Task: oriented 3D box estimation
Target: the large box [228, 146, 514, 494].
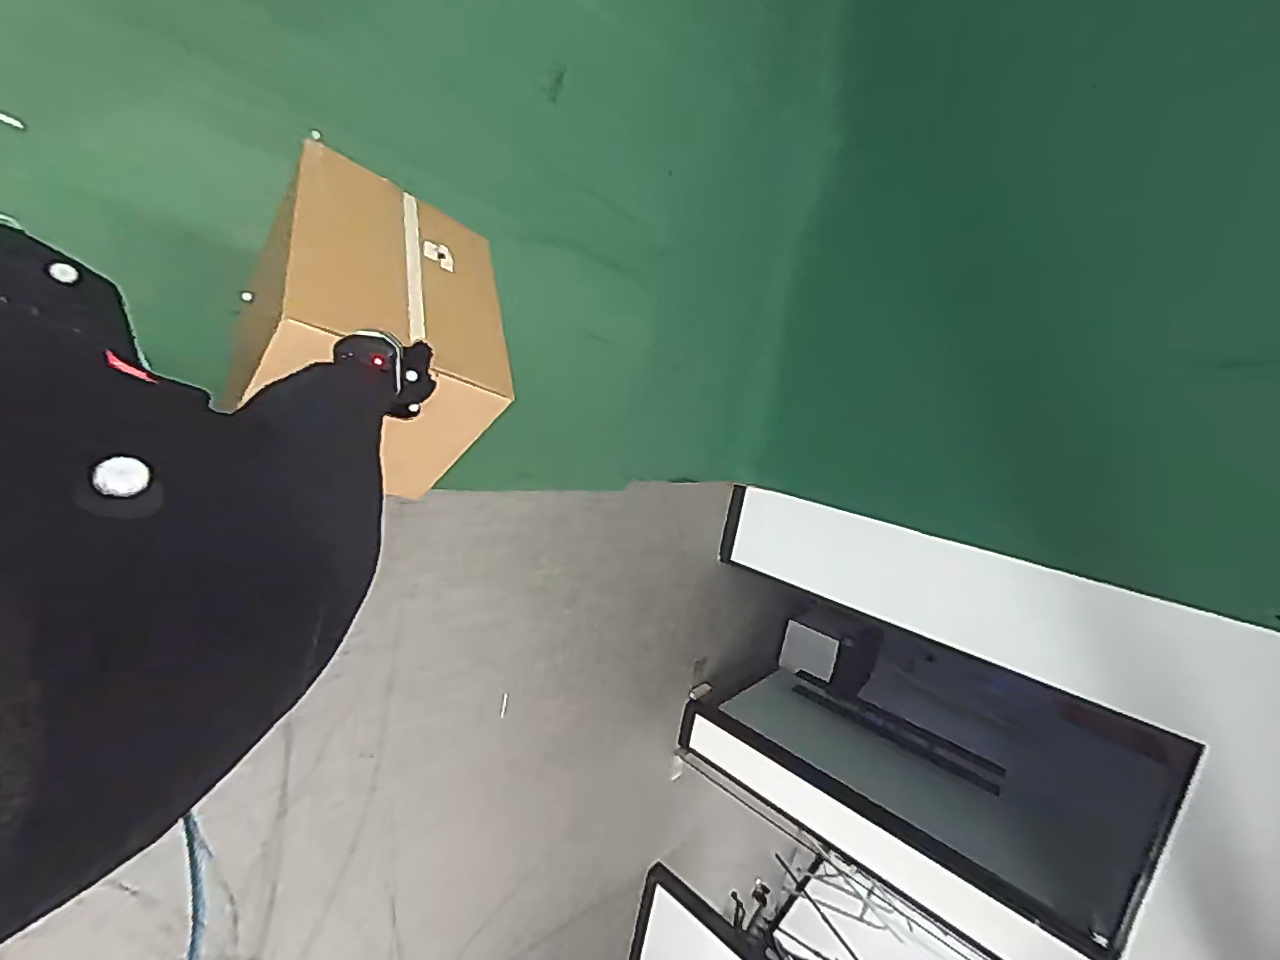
[{"bbox_3d":[-0.450,-0.238,0.908,0.320,0.408,0.320,-37,144,31],"label":"large box"}]
